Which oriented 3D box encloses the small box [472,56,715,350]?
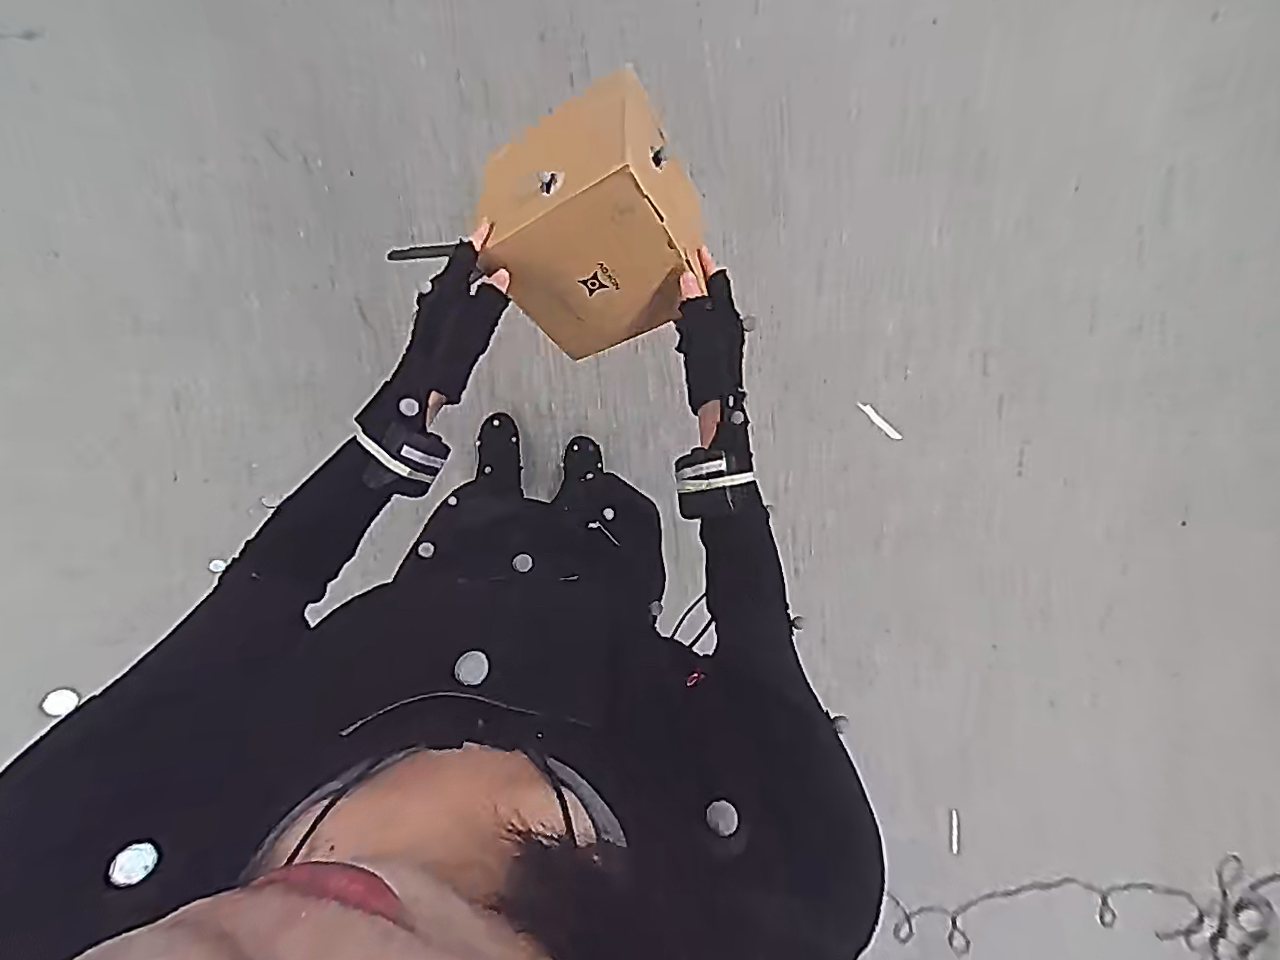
[{"bbox_3d":[-0.040,-0.270,0.548,0.179,0.168,0.176,-16,56,27],"label":"small box"}]
